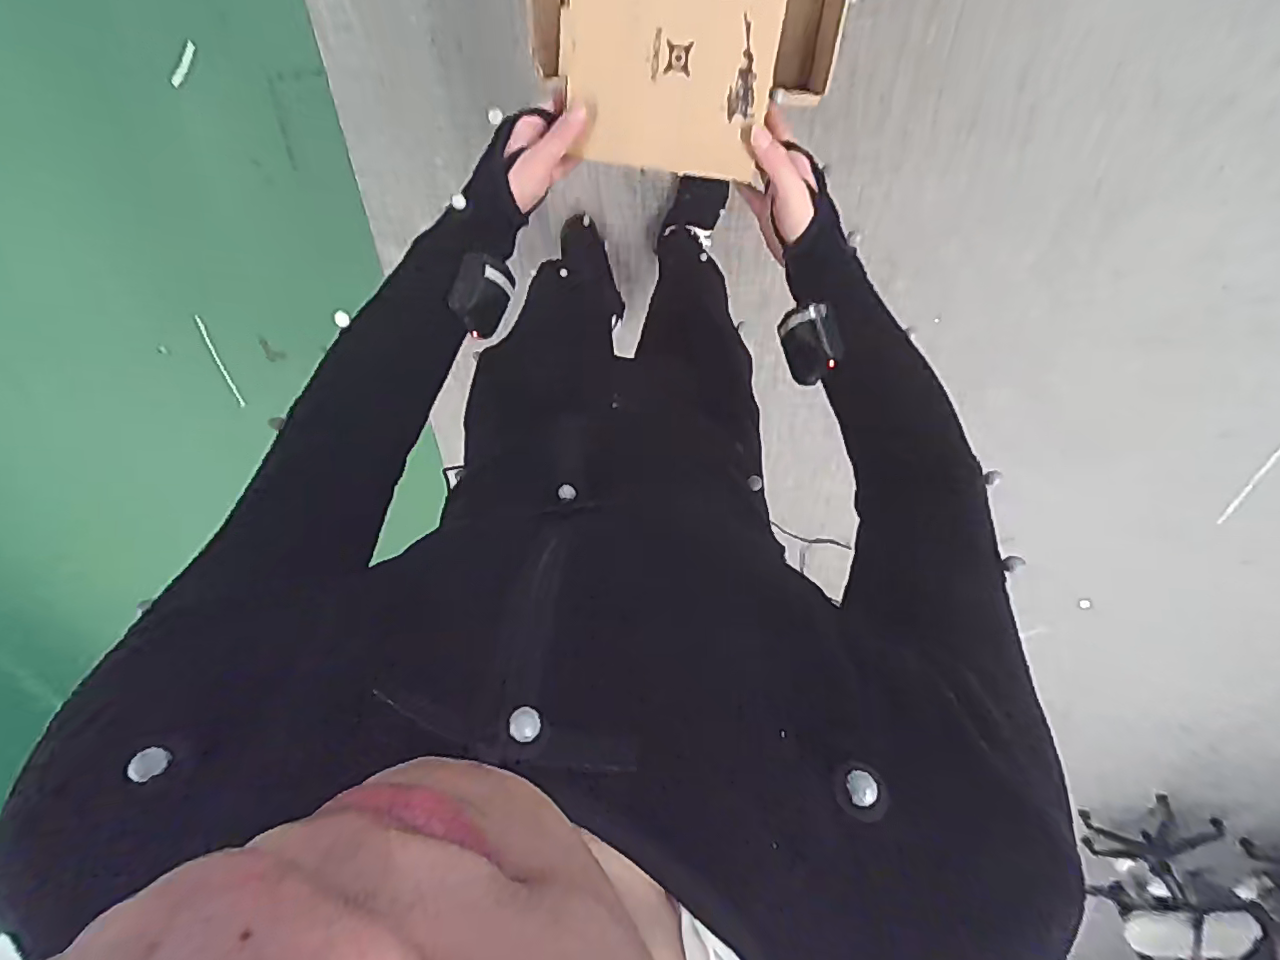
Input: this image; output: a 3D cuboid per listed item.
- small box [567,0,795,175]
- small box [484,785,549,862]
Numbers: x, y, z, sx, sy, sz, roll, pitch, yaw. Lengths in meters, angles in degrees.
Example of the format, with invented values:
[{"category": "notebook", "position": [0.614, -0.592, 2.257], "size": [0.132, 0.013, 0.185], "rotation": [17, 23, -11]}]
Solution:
[{"category": "small box", "position": [0.041, -0.395, 0.503], "size": [0.179, 0.176, 0.168], "rotation": [11, 125, 4]}, {"category": "small box", "position": [-0.404, 1.135, 1.791], "size": [0.179, 0.176, 0.168], "rotation": [11, 130, -1]}]
